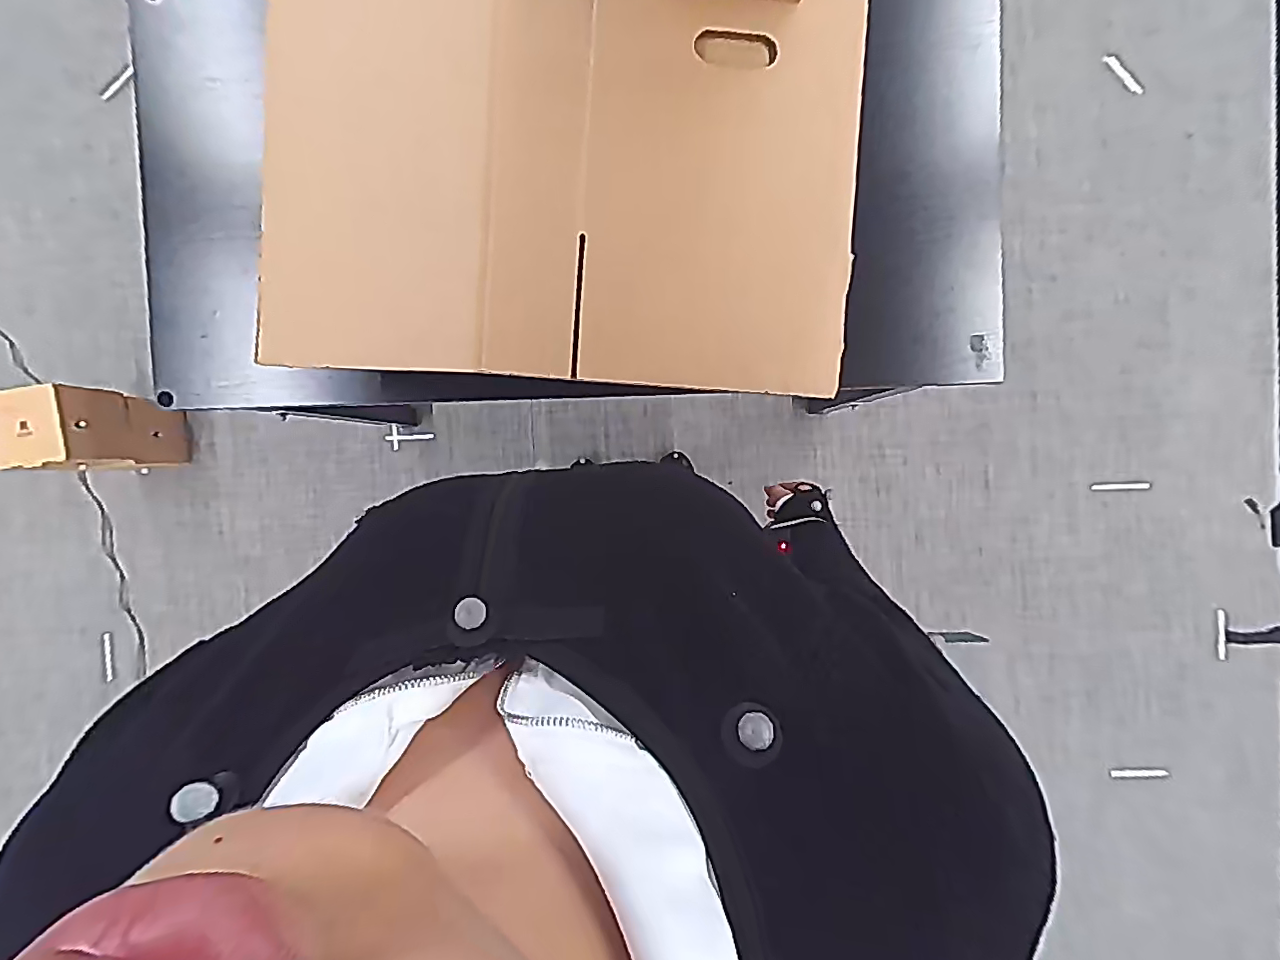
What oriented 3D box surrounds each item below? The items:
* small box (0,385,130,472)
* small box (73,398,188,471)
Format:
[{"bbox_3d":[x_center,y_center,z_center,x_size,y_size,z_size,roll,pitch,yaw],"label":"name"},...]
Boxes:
[{"bbox_3d":[-1.362,-0.117,1.275,0.168,0.176,0.179,-9,91,0],"label":"small box"},{"bbox_3d":[-1.357,-0.116,1.437,0.168,0.176,0.179,-6,92,1],"label":"small box"}]
